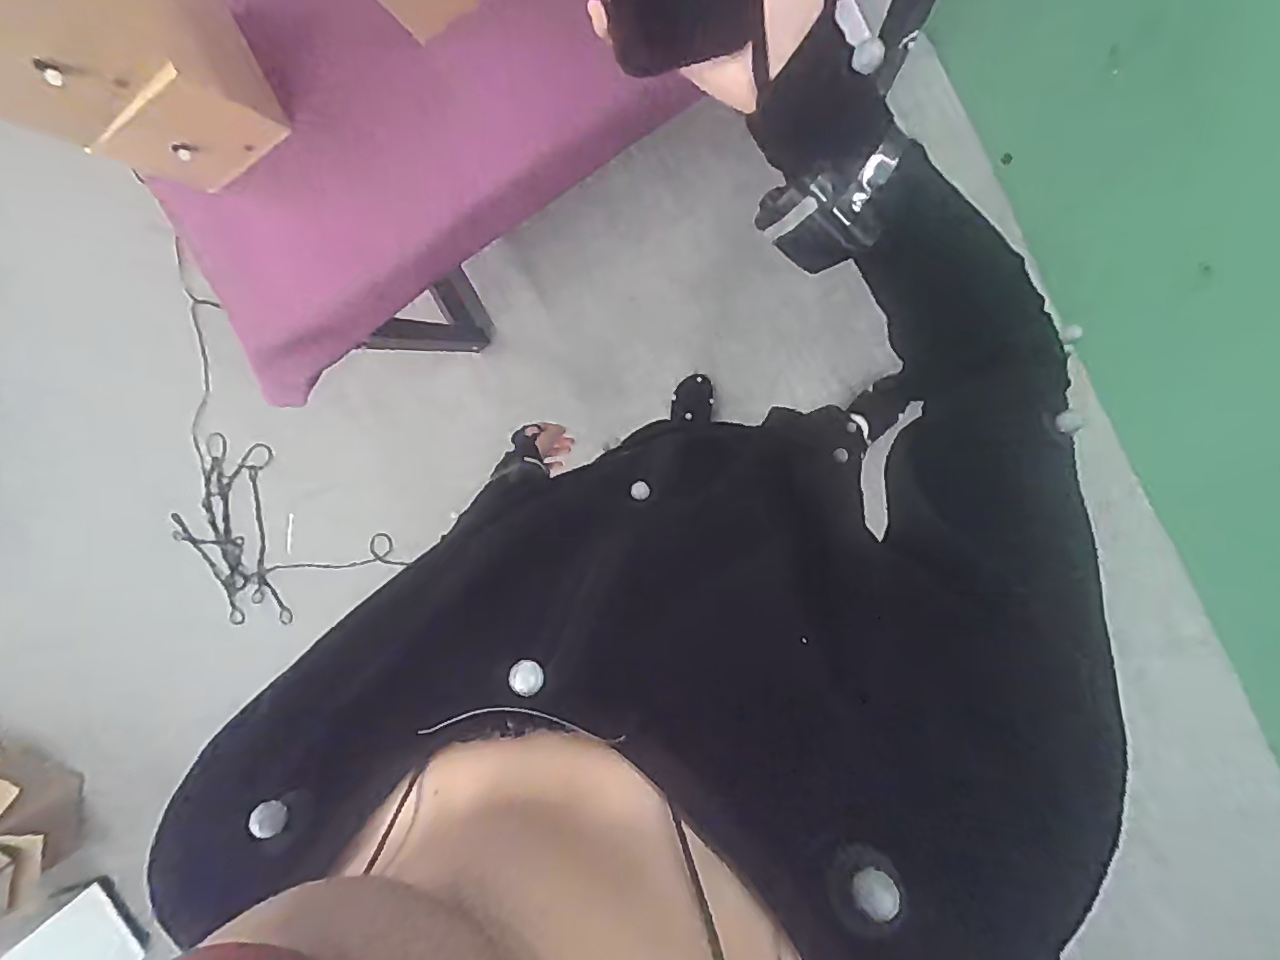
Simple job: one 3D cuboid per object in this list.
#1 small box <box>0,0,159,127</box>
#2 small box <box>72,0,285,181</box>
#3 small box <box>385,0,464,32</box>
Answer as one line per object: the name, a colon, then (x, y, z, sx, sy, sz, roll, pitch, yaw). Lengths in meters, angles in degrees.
small box: (-0.641, -0.487, 0.528, 0.168, 0.176, 0.179, -30, 95, 15)
small box: (-0.606, -0.513, 0.687, 0.168, 0.176, 0.179, -25, 96, 15)
small box: (-0.257, -0.657, 0.585, 0.179, 0.176, 0.168, -25, 96, 15)
